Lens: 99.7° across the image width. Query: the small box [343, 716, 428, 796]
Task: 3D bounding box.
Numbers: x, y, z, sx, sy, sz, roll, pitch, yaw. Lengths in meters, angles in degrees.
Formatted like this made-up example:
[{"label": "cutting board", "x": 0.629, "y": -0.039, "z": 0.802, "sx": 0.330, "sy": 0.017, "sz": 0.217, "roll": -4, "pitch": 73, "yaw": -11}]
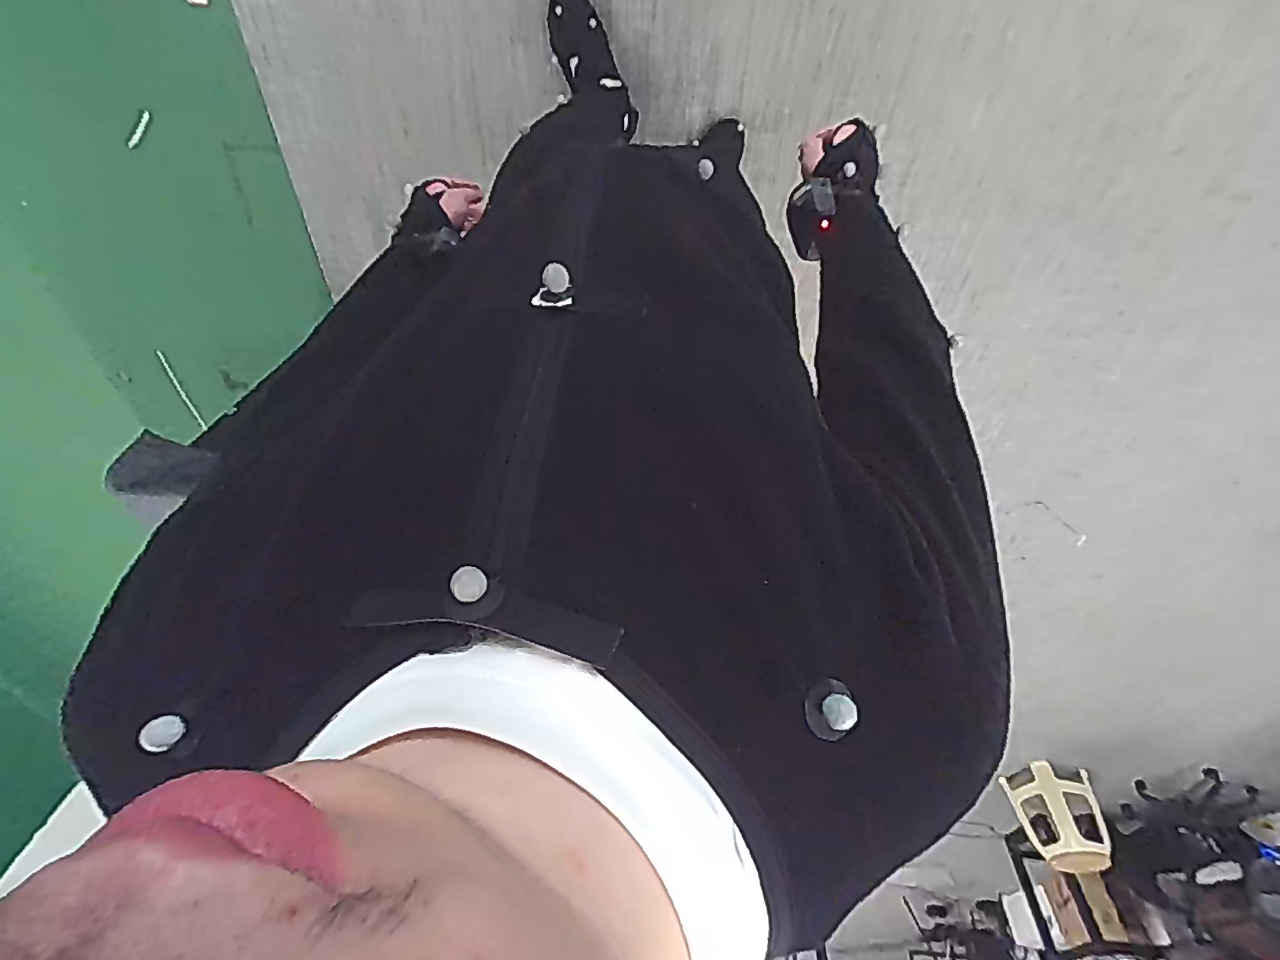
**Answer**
[{"label": "small box", "x": -0.786, "y": 0.858, "z": 1.687, "sx": 0.168, "sy": 0.176, "sz": 0.179, "roll": 4, "pitch": 131, "yaw": 2}]
